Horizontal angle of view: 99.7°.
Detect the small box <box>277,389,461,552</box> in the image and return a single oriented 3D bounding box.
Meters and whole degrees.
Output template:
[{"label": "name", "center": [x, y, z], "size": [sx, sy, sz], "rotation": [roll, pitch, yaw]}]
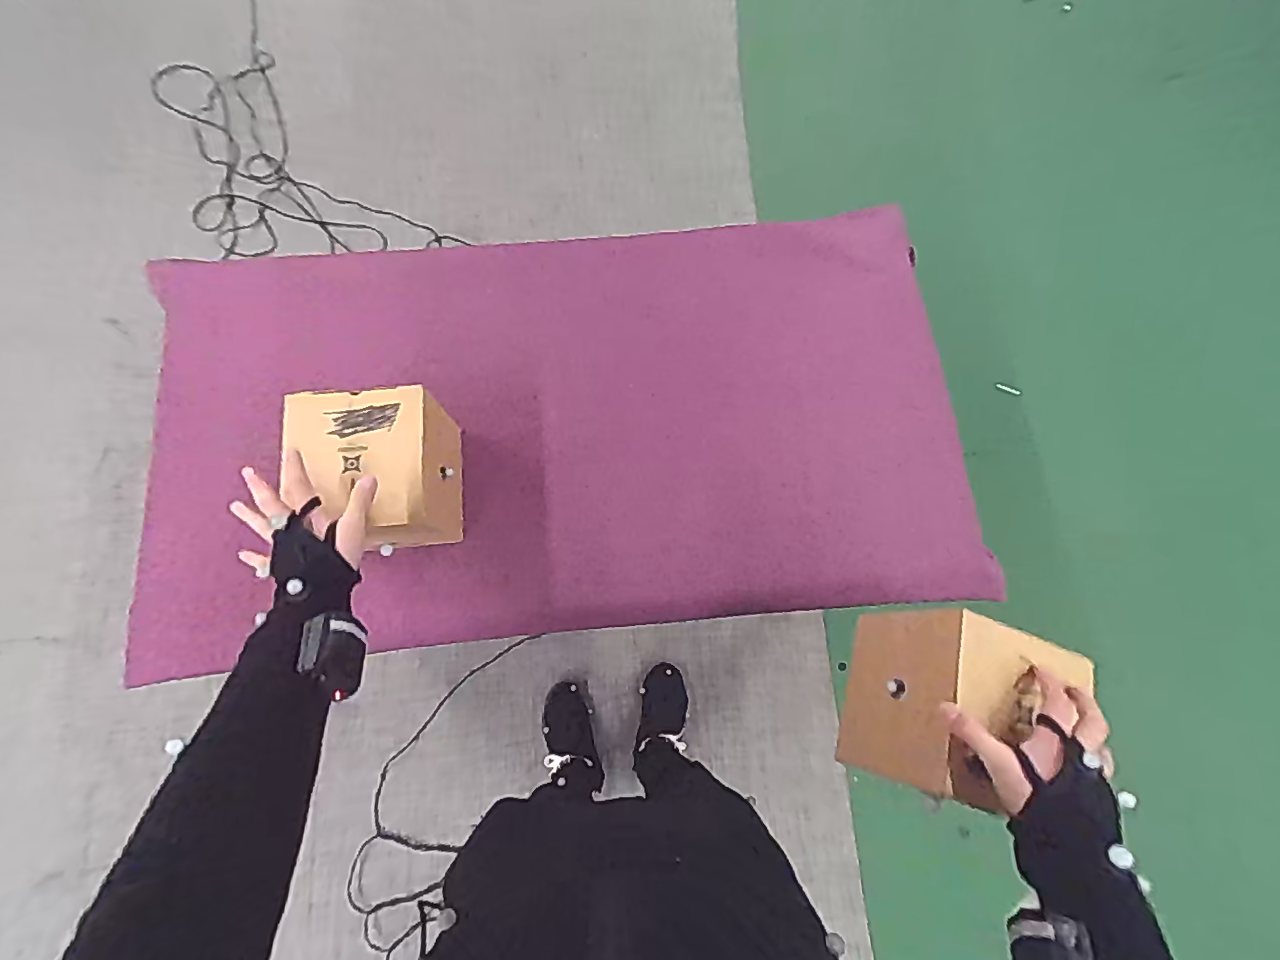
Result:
[{"label": "small box", "center": [-0.345, -0.006, 0.721], "size": [0.168, 0.176, 0.179], "rotation": [-5, 77, -4]}]
